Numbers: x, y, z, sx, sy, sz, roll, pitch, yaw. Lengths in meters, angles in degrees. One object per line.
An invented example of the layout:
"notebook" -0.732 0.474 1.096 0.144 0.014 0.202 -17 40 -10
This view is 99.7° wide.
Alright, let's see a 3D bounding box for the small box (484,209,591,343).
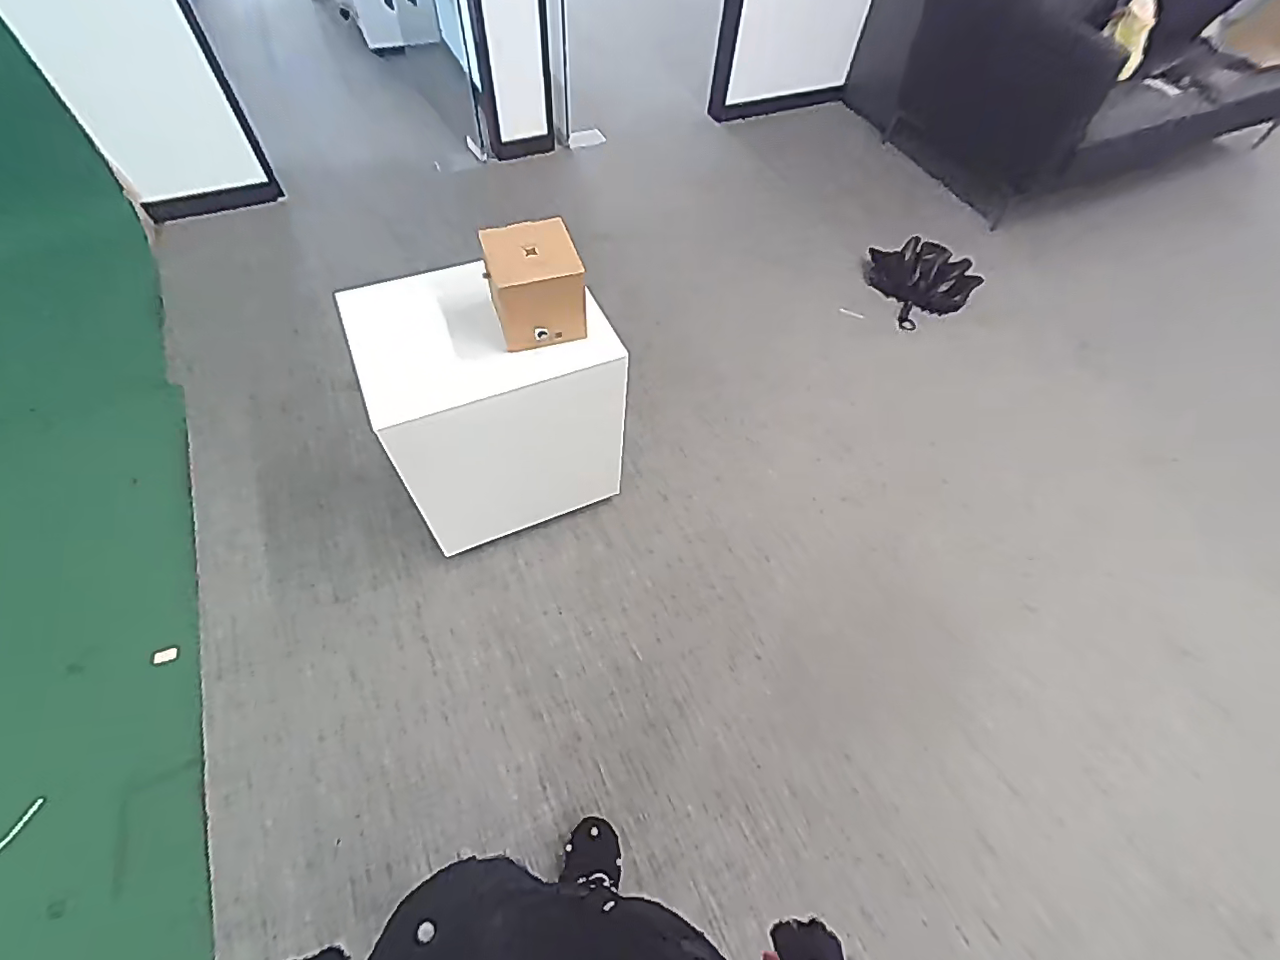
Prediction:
"small box" -0.201 -0.403 1.076 0.168 0.176 0.179 -16 62 -12
